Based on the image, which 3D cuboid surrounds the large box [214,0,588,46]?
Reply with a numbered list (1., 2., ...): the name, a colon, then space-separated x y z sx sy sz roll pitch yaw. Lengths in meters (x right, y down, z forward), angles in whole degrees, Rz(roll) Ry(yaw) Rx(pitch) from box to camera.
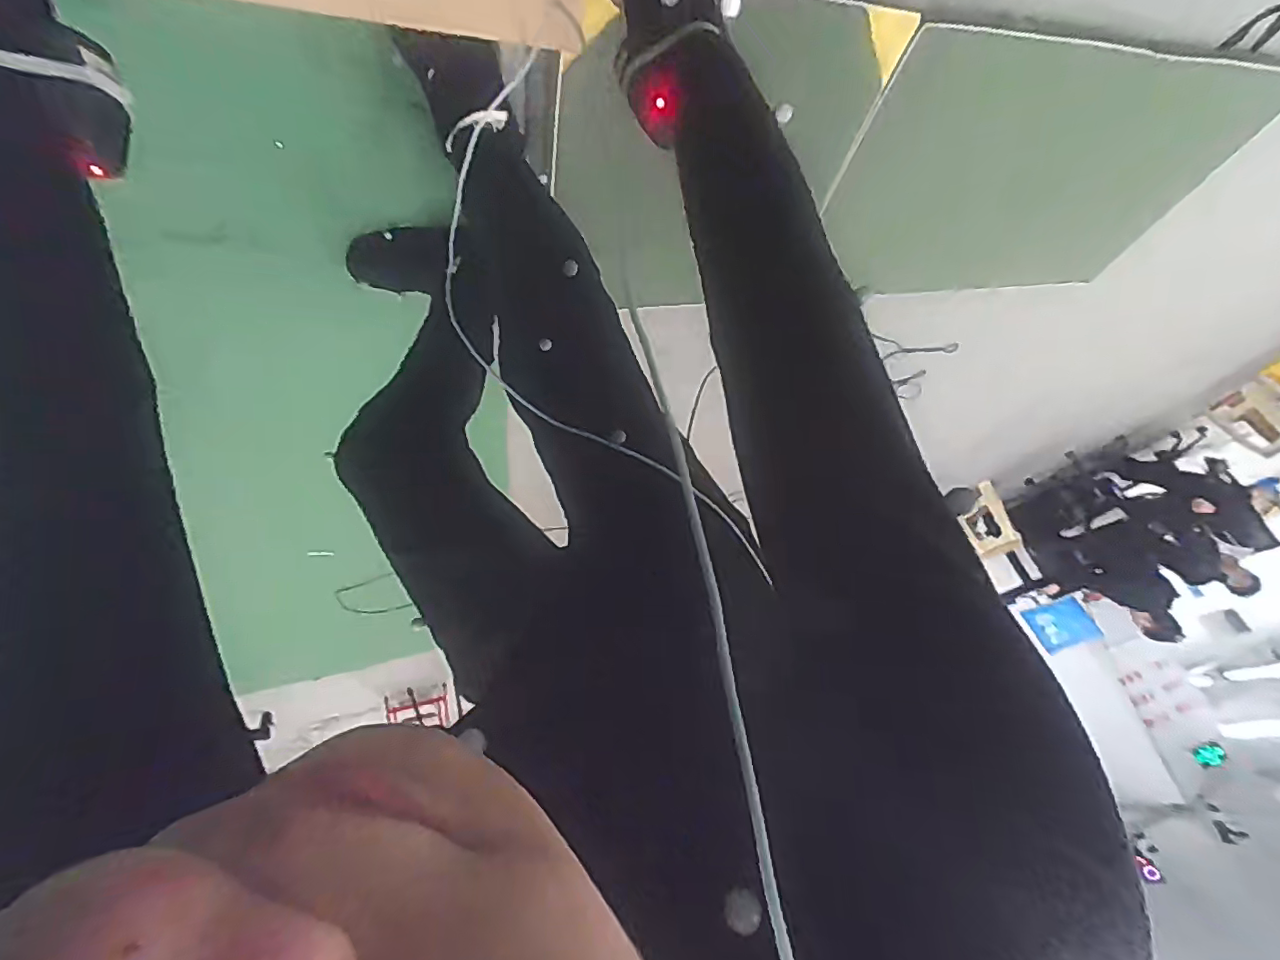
1. large box: -0.253 -0.616 0.422 0.408 0.320 0.320 -9 154 -21
